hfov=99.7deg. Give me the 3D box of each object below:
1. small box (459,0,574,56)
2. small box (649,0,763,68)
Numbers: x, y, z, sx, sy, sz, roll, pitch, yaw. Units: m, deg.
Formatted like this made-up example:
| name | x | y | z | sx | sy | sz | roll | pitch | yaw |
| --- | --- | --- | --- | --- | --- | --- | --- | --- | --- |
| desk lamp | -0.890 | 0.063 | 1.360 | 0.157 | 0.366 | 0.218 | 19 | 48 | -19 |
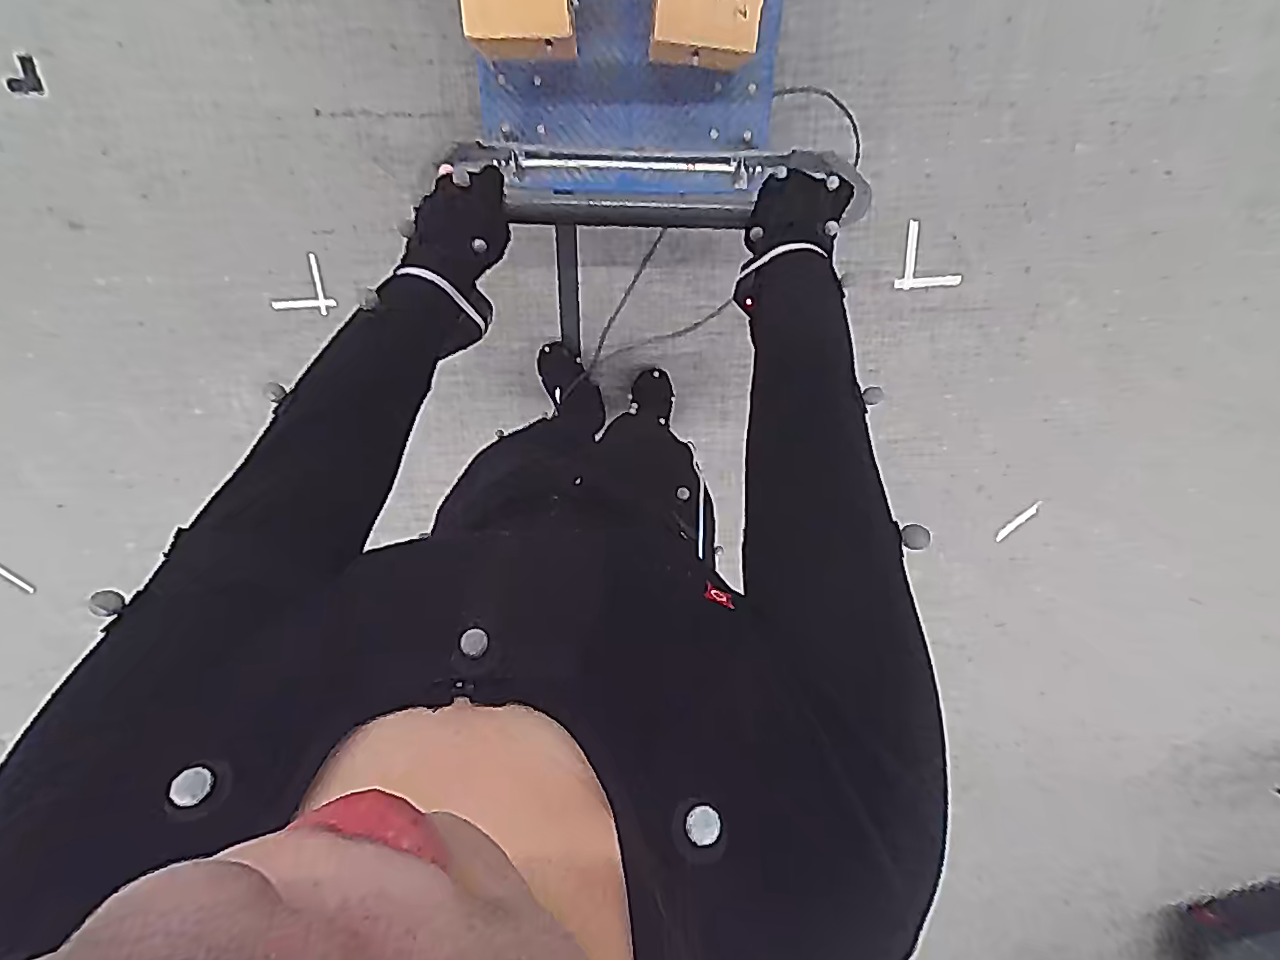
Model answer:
| name | x | y | z | sx | sy | sz | roll | pitch | yaw |
| --- | --- | --- | --- | --- | --- | --- | --- | --- | --- |
| small box | -0.206 | -0.834 | 0.910 | 0.179 | 0.176 | 0.168 | -3 | 118 | -3 |
| small box | 0.111 | -0.832 | 0.929 | 0.179 | 0.176 | 0.168 | 4 | 118 | -5 |
